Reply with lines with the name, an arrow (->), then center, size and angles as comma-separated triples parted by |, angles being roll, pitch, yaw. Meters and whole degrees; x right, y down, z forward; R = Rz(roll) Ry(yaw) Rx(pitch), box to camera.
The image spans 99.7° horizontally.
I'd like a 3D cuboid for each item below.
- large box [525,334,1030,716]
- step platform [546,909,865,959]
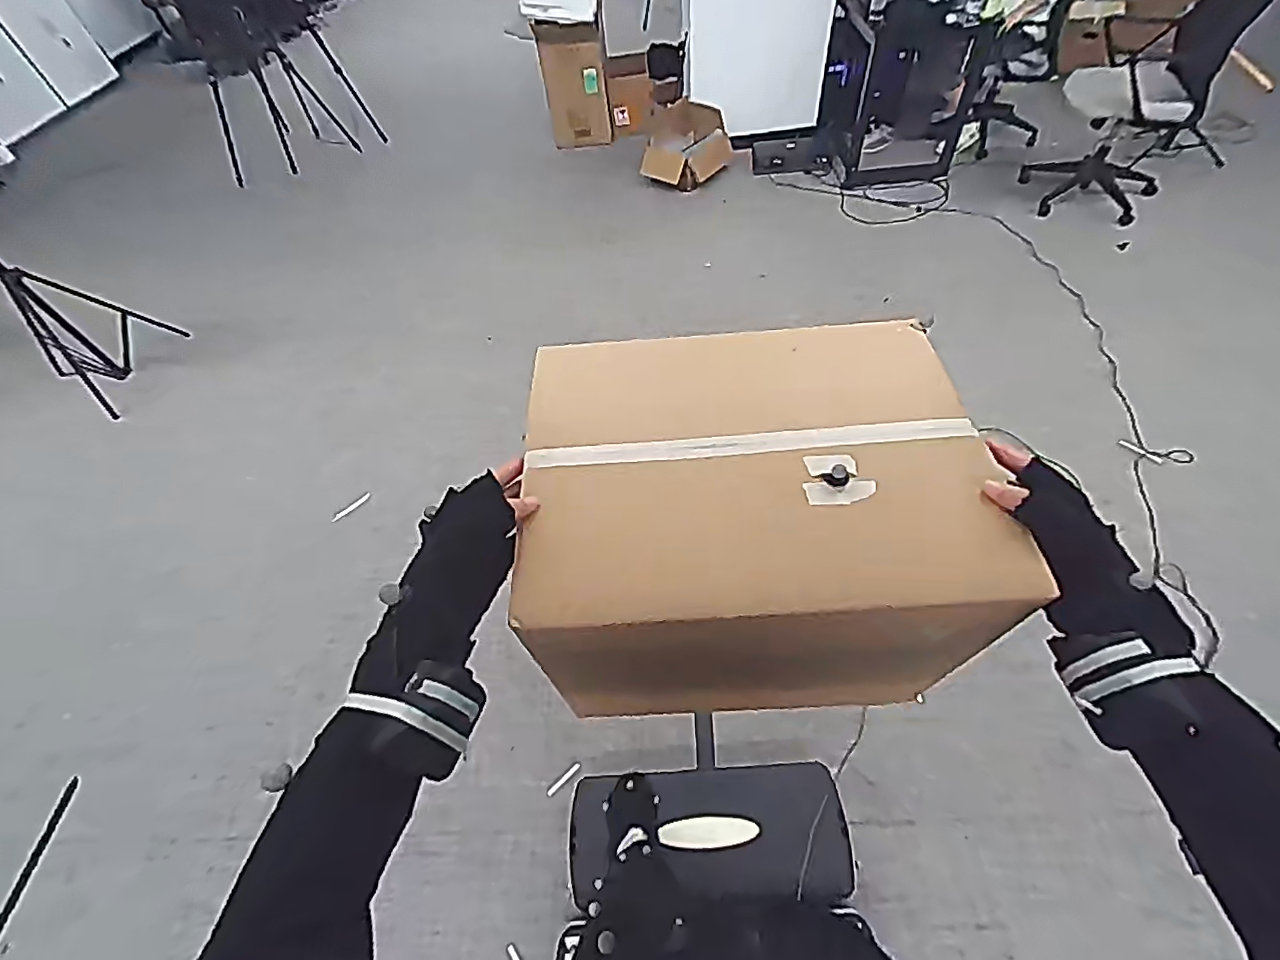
large box -> 0.105, 0.065, 0.625 | 0.408, 0.320, 0.320 | -4, 55, 1
step platform -> 0.136, 1.088, 1.119 | 0.684, 0.204, 0.286 | -6, 53, 4
